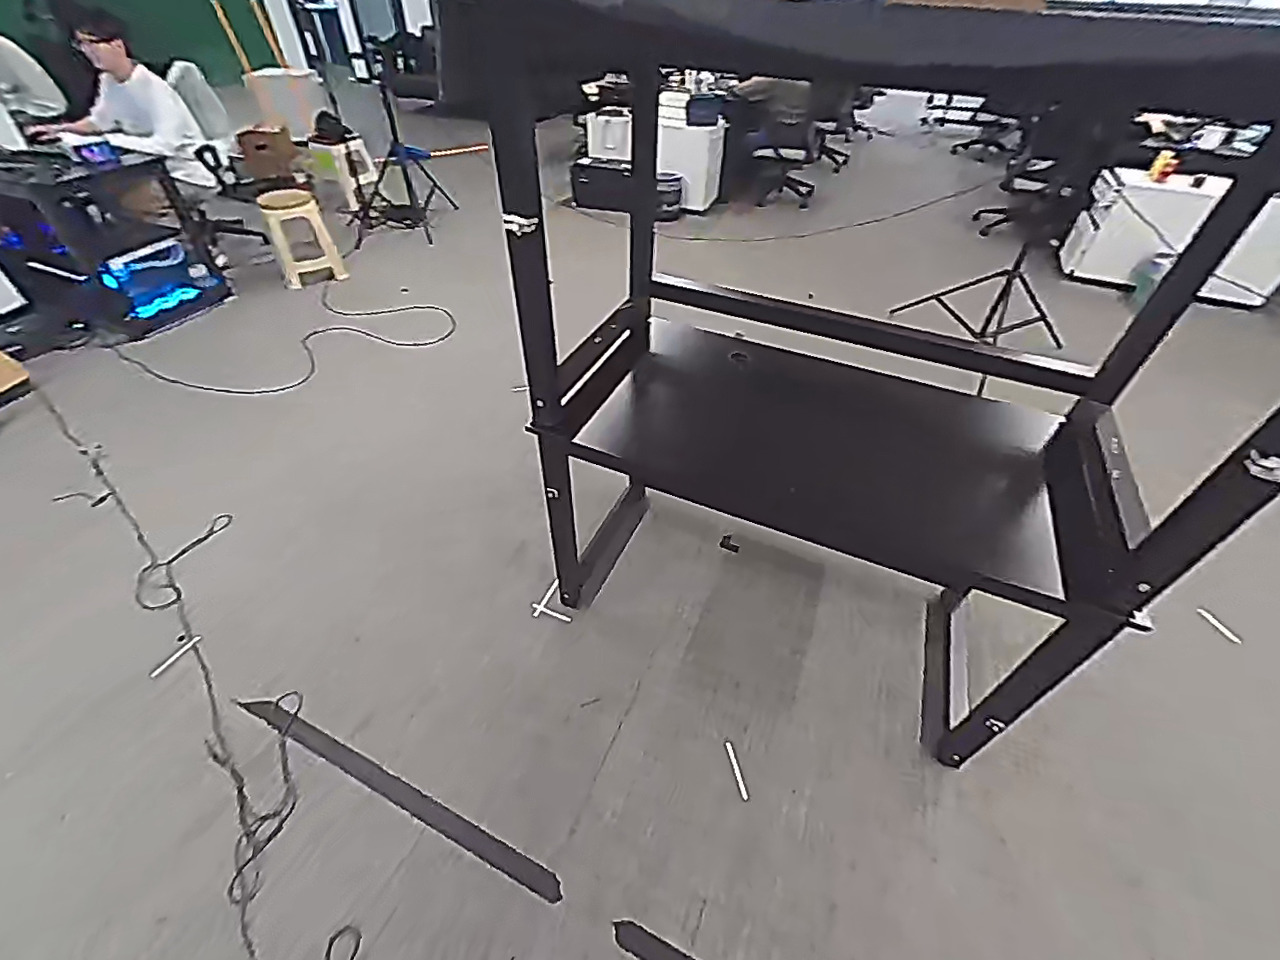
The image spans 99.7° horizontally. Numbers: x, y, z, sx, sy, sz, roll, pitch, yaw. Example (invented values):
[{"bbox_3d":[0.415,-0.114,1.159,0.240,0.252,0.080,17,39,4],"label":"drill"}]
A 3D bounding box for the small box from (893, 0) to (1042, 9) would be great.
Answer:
[{"bbox_3d":[0.397,-0.644,0.608,0.168,0.176,0.179,18,44,16],"label":"small box"}]

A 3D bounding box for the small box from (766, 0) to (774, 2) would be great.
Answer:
[{"bbox_3d":[0.128,-0.715,0.672,0.168,0.176,0.179,11,43,10],"label":"small box"}]
